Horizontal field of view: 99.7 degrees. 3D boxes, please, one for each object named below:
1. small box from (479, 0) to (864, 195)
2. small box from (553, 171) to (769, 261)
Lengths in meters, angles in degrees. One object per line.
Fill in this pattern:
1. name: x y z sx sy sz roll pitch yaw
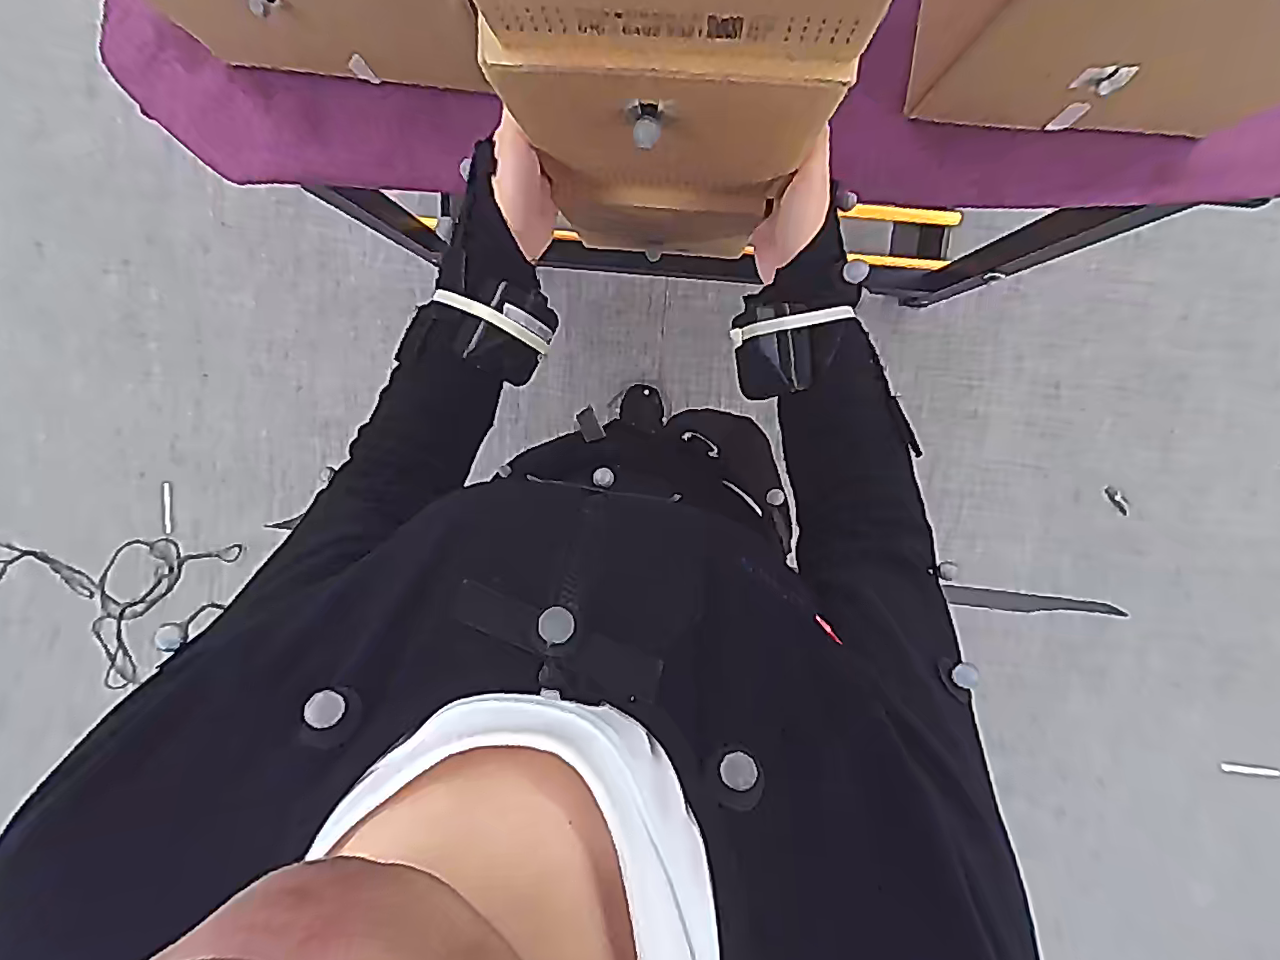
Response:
1. small box: 0.022 -0.279 0.311 0.179 0.176 0.168 5 102 4
2. small box: 0.027 -0.304 0.471 0.168 0.176 0.179 6 103 3
